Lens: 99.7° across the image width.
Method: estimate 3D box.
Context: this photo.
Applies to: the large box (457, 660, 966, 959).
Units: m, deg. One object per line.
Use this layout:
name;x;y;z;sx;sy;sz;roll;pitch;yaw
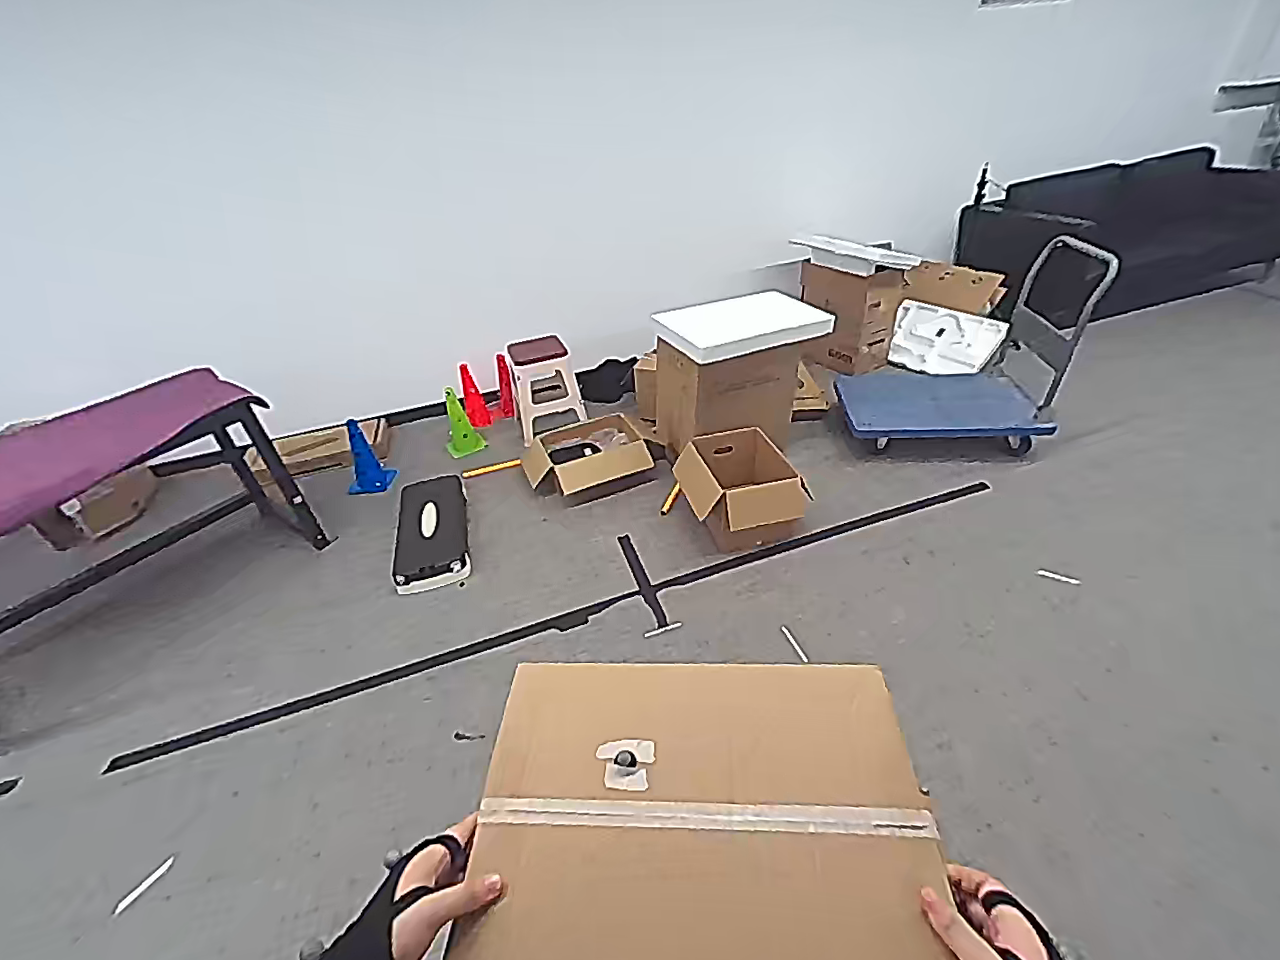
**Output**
large box;0.072;0.424;0.595;0.408;0.320;0.320;-3;38;7
